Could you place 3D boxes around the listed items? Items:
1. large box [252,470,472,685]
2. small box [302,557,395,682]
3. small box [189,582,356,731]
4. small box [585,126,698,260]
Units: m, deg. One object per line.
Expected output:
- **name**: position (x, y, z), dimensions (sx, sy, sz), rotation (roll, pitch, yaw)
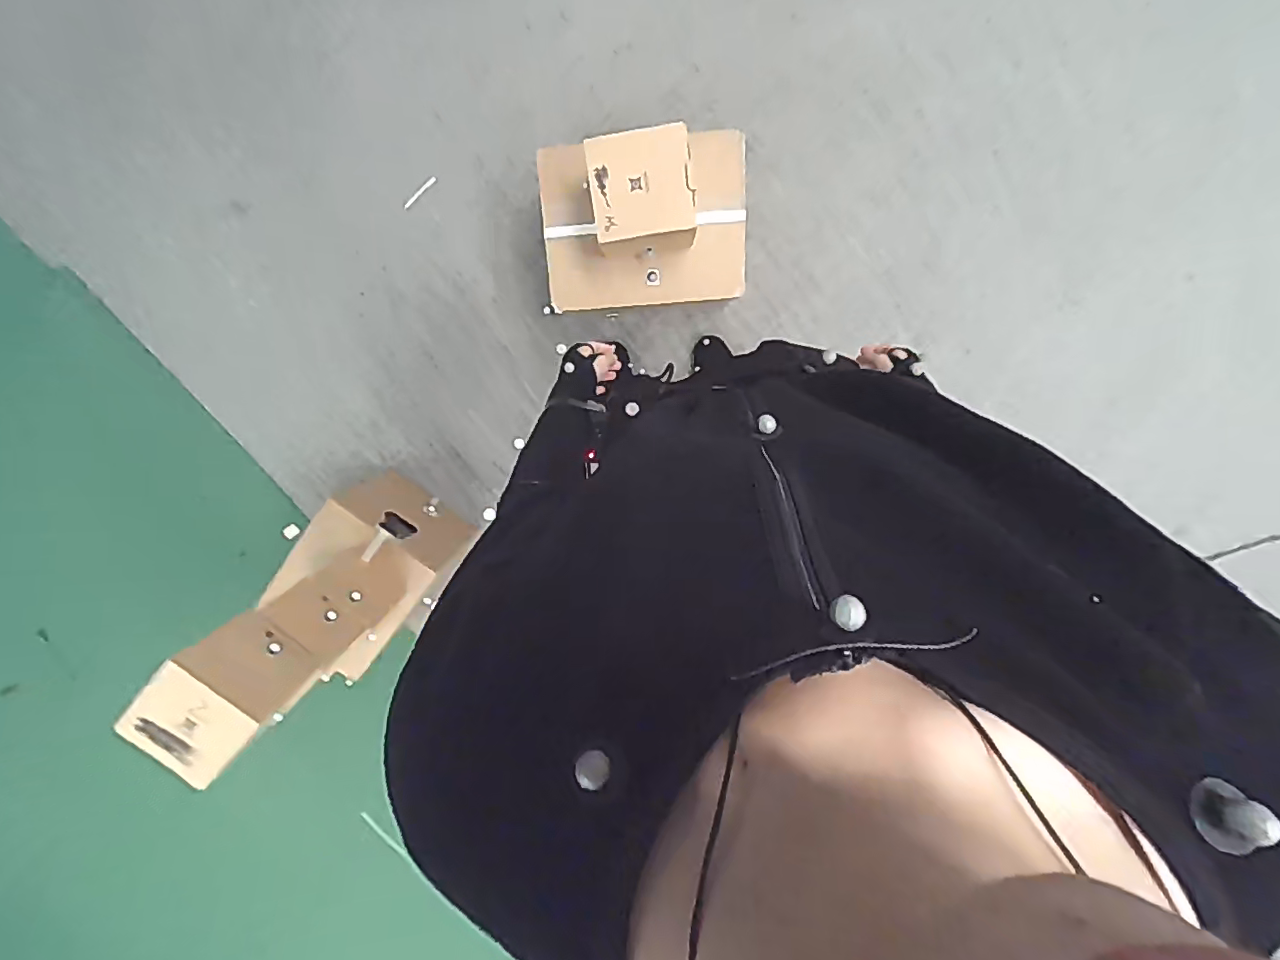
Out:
- **large box**: position (-0.725, 0.244, 1.453), dimensions (0.320, 0.320, 0.408), rotation (38, 104, -6)
- **small box**: position (-0.693, 0.304, 1.213), dimensions (0.179, 0.176, 0.168), rotation (43, 101, -9)
- **small box**: position (-0.701, 0.336, 1.054), dimensions (0.179, 0.176, 0.168), rotation (-44, 99, 11)
- **small box**: position (0.004, -0.509, 0.982), dimensions (0.179, 0.176, 0.168), rotation (-7, 102, 3)
